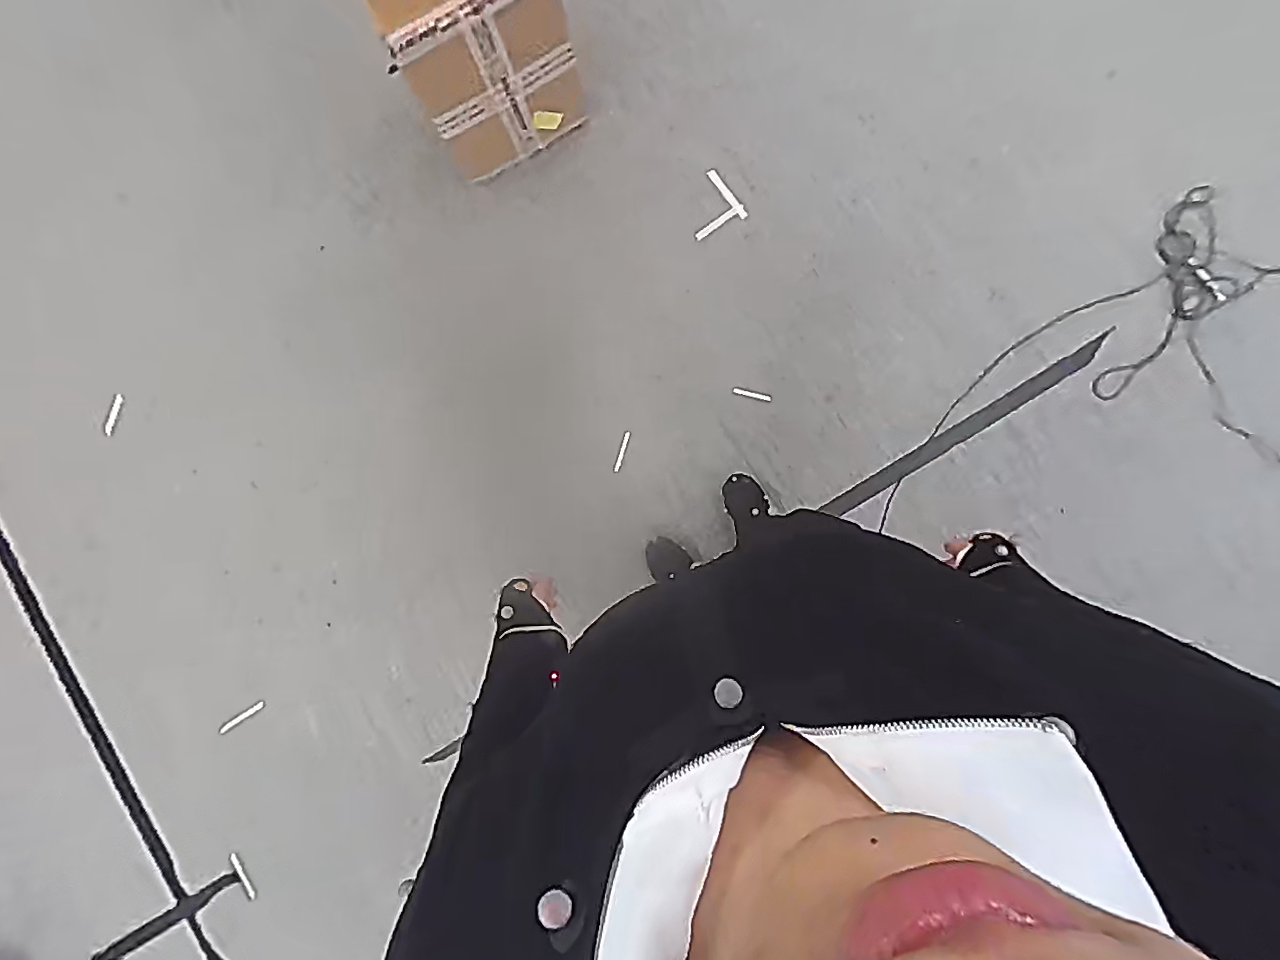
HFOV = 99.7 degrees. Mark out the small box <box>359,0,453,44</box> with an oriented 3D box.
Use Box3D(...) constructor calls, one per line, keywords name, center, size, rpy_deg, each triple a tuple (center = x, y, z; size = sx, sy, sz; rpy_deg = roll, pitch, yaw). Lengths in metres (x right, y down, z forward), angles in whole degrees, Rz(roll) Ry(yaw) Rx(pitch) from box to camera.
Box3D(name="small box", center=(-0.499, -1.040, 1.079), size=(0.179, 0.176, 0.168), rpy_deg=(-25, 87, 4))
